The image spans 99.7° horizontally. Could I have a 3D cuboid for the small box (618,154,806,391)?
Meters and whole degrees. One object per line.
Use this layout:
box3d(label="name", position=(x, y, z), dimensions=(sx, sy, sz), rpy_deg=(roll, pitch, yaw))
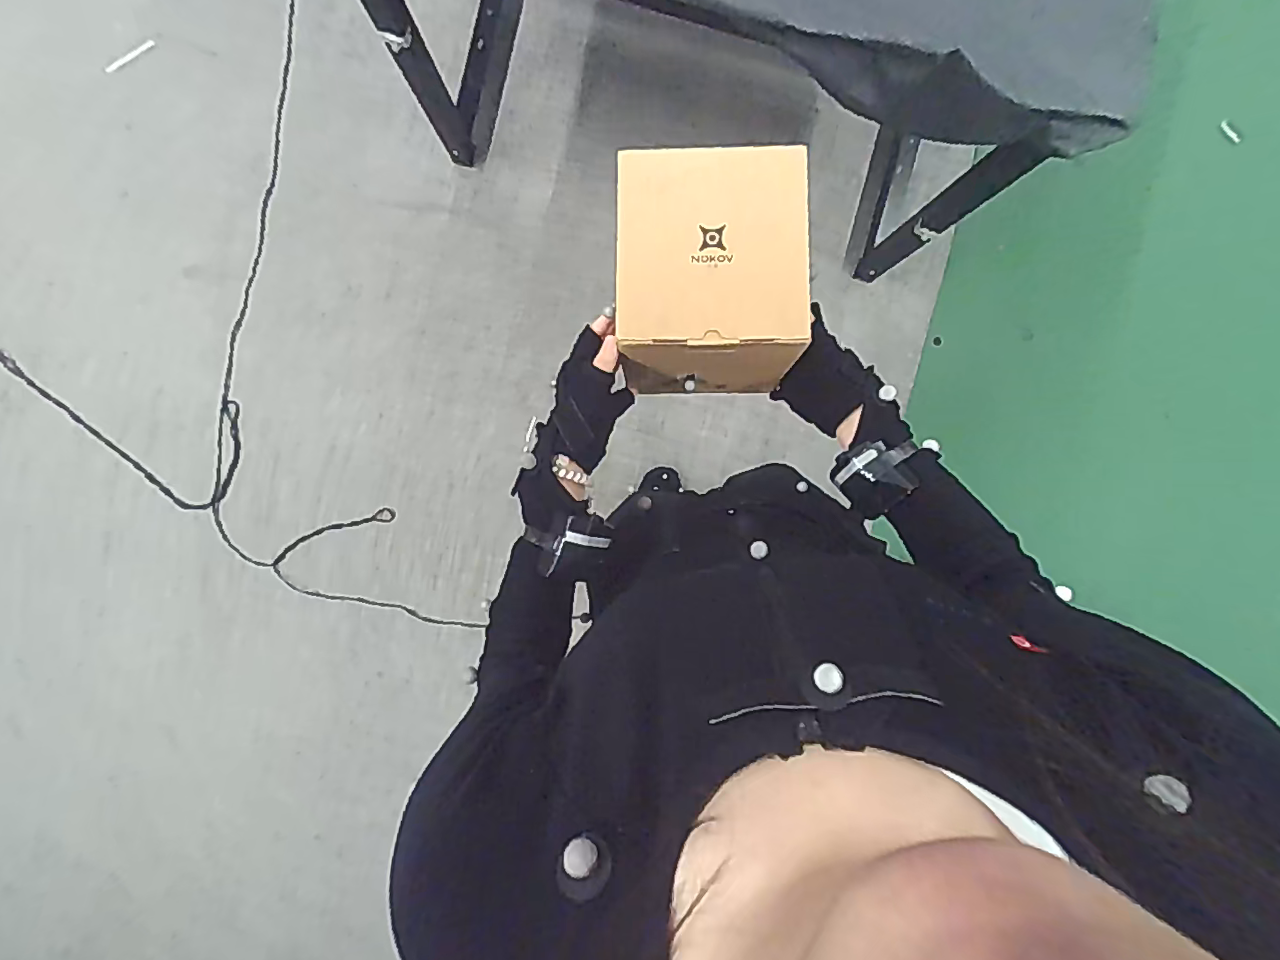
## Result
box3d(label="small box", position=(0.065, -0.198, 0.556), dimensions=(0.168, 0.176, 0.179), rpy_deg=(0, 86, 3))
